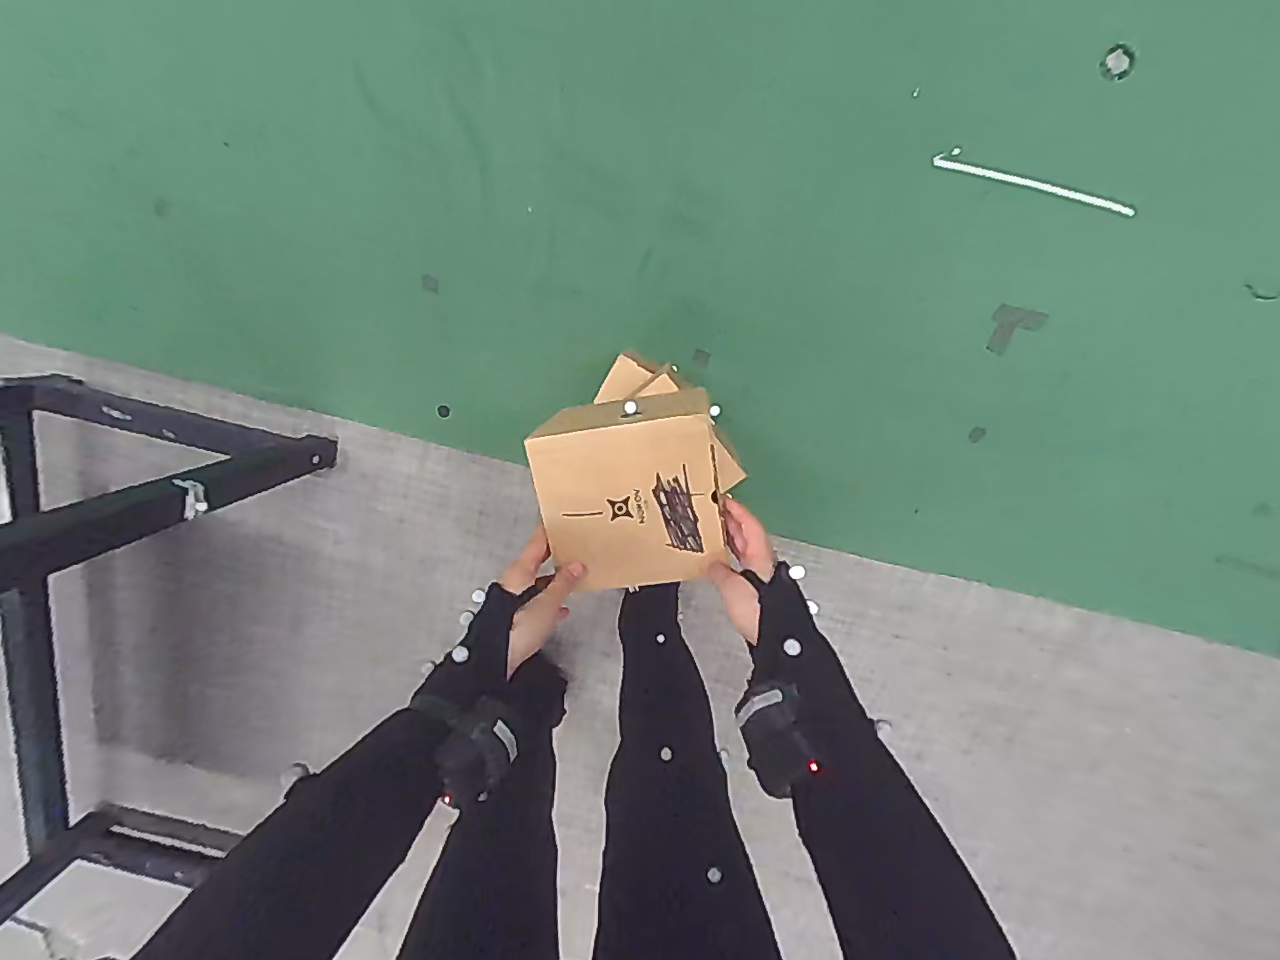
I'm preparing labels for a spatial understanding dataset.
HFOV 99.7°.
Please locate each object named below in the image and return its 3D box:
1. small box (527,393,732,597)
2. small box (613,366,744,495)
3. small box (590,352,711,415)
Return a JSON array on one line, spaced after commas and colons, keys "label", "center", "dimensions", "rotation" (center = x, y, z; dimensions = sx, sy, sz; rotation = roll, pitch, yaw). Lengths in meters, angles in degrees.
[{"label": "small box", "center": [-0.002, 0.006, 0.587], "dimensions": [0.179, 0.176, 0.168], "rotation": [-7, 107, 8]}, {"label": "small box", "center": [0.020, -0.038, 0.744], "dimensions": [0.179, 0.176, 0.168], "rotation": [-37, 101, 13]}, {"label": "small box", "center": [0.005, -0.096, 0.899], "dimensions": [0.168, 0.176, 0.179], "rotation": [30, 106, -4]}]
